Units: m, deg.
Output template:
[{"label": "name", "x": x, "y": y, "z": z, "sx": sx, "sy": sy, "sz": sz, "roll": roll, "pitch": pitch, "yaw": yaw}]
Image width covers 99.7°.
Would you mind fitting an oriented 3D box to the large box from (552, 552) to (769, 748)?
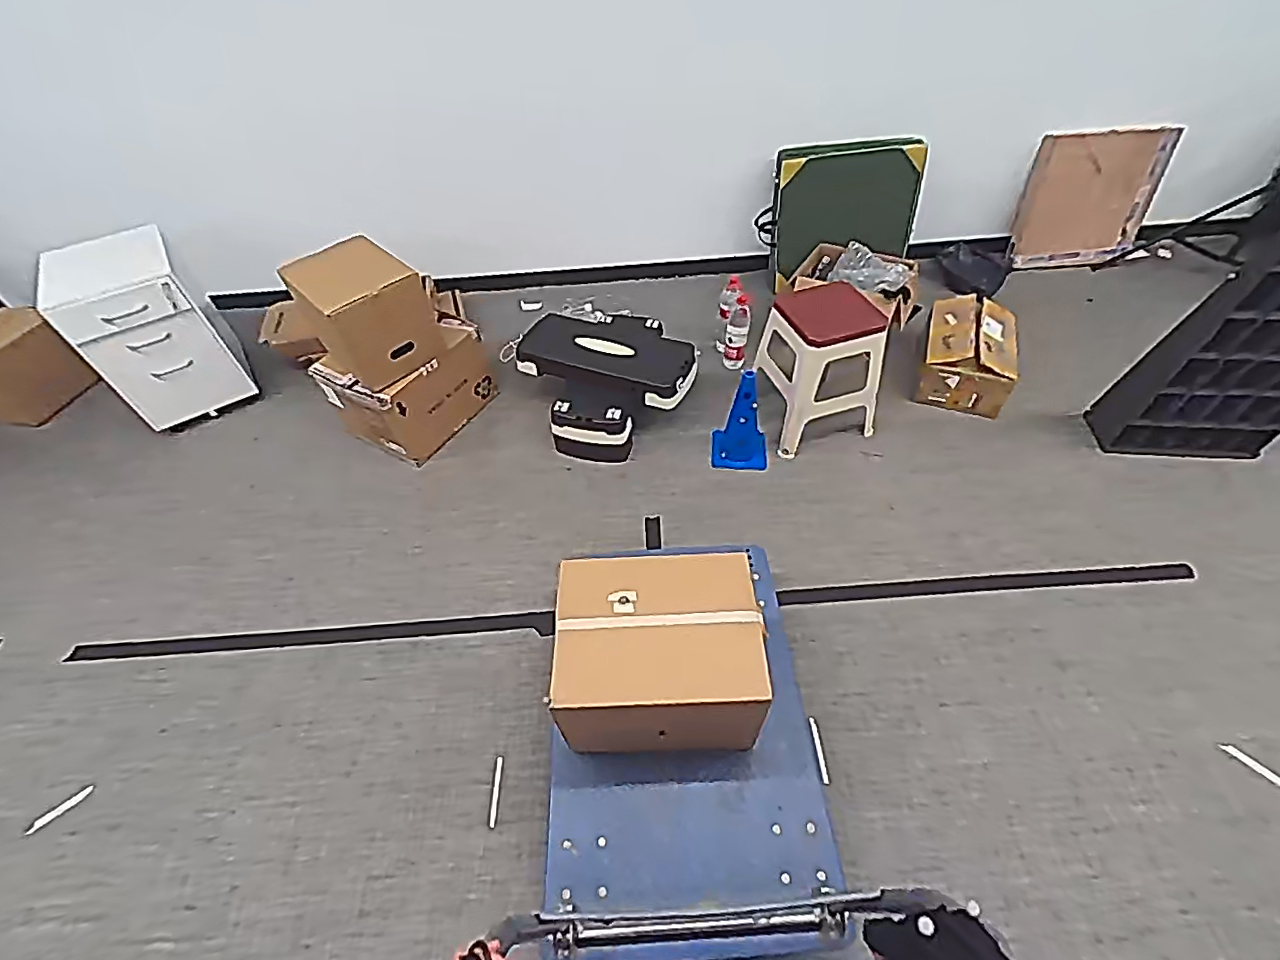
[{"label": "large box", "x": 0.042, "y": 0.381, "z": 1.188, "sx": 0.408, "sy": 0.320, "sz": 0.320, "roll": -4, "pitch": 49, "yaw": 2}]
